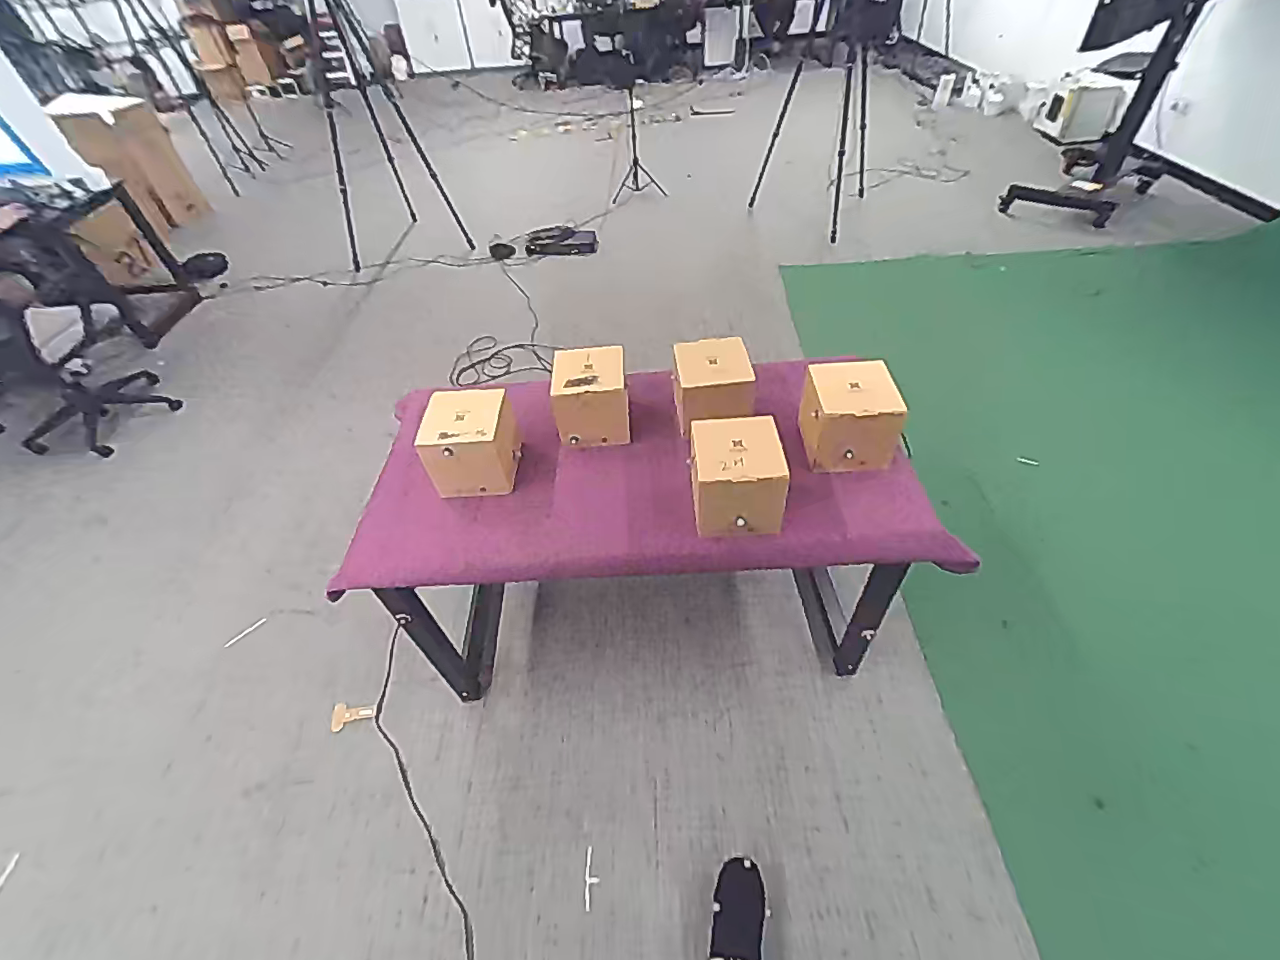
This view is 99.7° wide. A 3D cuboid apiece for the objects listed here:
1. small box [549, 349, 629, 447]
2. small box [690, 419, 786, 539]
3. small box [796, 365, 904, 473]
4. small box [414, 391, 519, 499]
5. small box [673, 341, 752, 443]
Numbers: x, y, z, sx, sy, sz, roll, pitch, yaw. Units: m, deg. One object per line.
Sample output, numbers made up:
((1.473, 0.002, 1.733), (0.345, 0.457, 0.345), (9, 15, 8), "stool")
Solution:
((-0.117, -0.192, 1.301), (0.168, 0.176, 0.179), (-5, 46, 1), "small box")
((0.188, -0.001, 1.092), (0.168, 0.176, 0.179), (-3, 45, 3), "small box")
((0.452, -0.134, 1.196), (0.168, 0.176, 0.179), (-3, 47, 3), "small box")
((-0.377, -0.079, 1.214), (0.168, 0.176, 0.179), (-4, 46, 3), "small box")
((0.167, -0.210, 1.295), (0.168, 0.176, 0.179), (-5, 47, 1), "small box")
